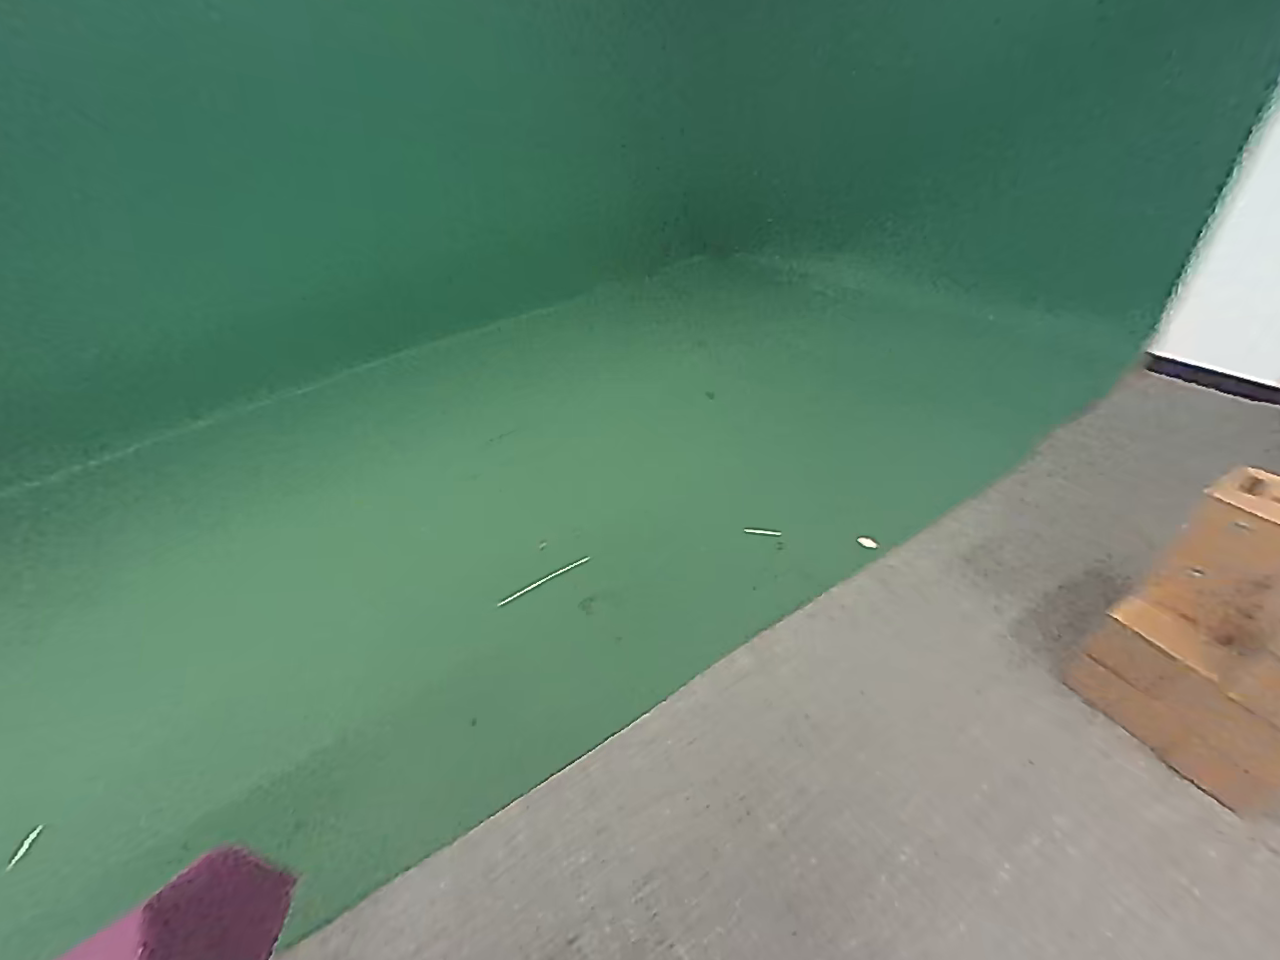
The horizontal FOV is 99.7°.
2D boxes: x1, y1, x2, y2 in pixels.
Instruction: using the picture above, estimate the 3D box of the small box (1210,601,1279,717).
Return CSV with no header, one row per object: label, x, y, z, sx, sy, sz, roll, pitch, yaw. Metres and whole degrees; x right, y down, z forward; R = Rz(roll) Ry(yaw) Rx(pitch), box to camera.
small box,1.318,0.366,1.073,0.168,0.176,0.179,-25,42,-21
